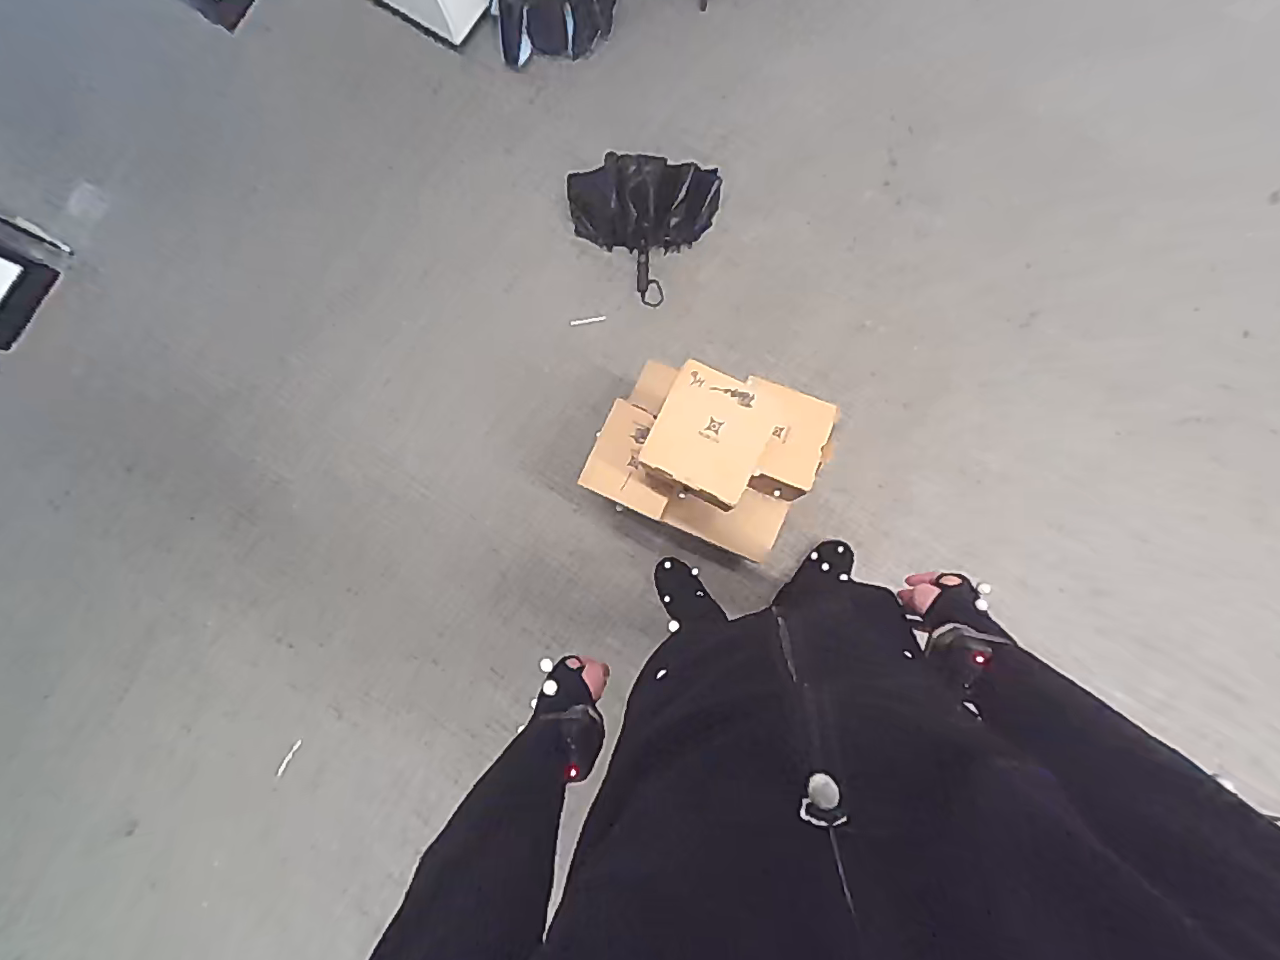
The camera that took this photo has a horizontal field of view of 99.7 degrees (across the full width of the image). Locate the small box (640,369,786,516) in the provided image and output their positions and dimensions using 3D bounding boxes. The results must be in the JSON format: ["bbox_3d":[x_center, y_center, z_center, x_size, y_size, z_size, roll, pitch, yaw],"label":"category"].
[{"bbox_3d":[0.118,-0.050,0.886,0.168,0.176,0.179,26,88,8],"label":"small box"}]

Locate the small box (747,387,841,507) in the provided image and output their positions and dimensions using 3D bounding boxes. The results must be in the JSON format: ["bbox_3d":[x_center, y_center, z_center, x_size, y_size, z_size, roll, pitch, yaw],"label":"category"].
[{"bbox_3d":[0.258,-0.055,1.043,0.179,0.176,0.168,20,82,8],"label":"small box"}]

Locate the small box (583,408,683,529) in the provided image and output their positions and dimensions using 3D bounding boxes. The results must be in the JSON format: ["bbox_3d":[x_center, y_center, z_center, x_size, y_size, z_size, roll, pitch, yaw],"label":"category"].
[{"bbox_3d":[0.010,-0.016,1.058,0.168,0.176,0.179,25,88,8],"label":"small box"}]
